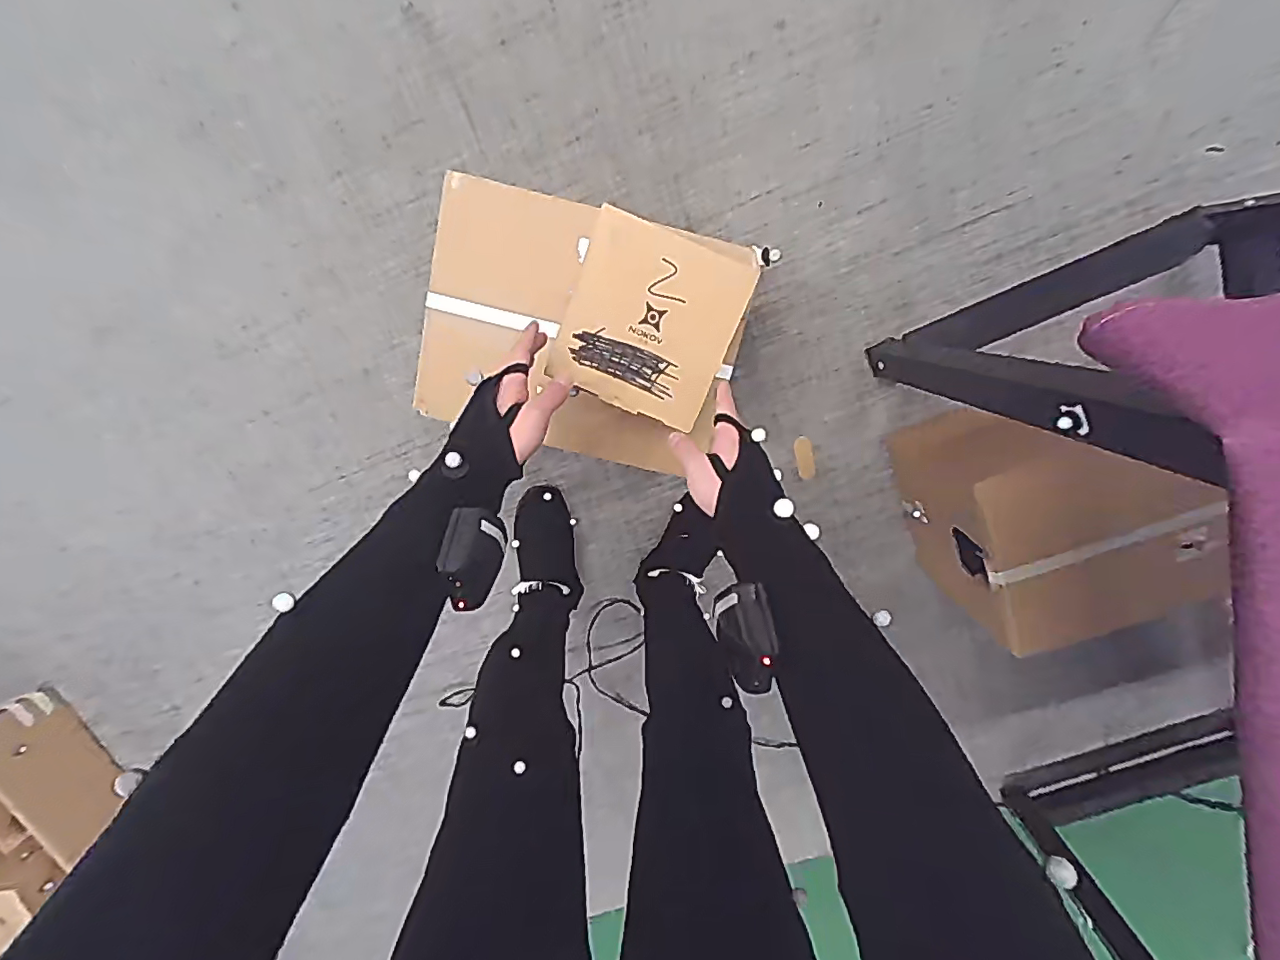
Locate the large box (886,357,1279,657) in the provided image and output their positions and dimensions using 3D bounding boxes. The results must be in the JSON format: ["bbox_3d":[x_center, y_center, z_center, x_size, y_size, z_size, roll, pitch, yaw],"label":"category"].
[{"bbox_3d":[0.702,0.022,0.903,0.408,0.320,0.320,-22,107,7],"label":"large box"}]

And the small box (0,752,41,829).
[{"bbox_3d":[-1.541,0.738,1.210,0.168,0.176,0.179,-24,106,8],"label":"small box"}]
